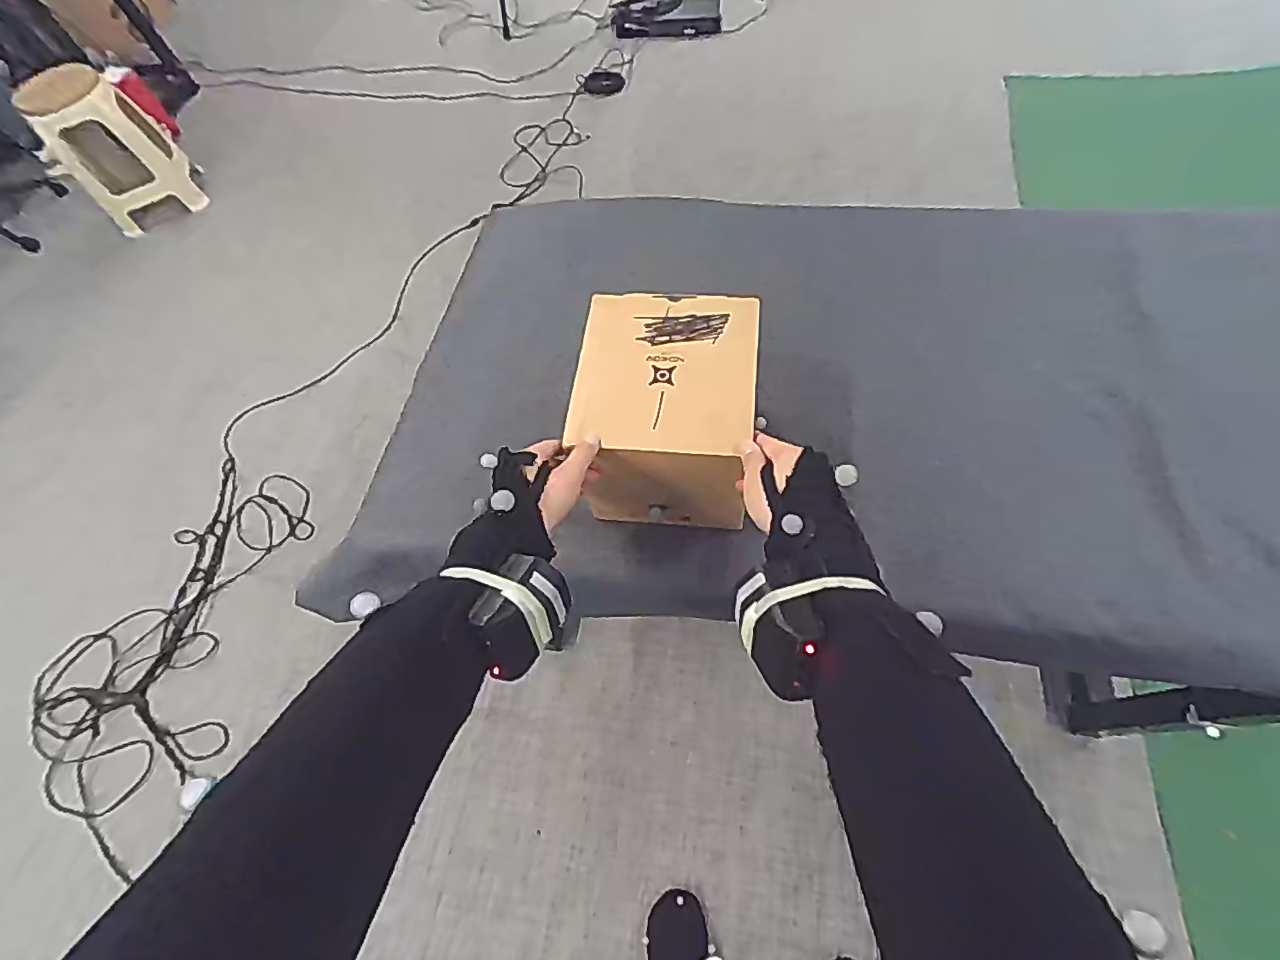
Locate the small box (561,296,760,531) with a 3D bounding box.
[{"bbox_3d":[0.030,-0.064,0.559,0.168,0.176,0.179,4,64,9],"label":"small box"}]
